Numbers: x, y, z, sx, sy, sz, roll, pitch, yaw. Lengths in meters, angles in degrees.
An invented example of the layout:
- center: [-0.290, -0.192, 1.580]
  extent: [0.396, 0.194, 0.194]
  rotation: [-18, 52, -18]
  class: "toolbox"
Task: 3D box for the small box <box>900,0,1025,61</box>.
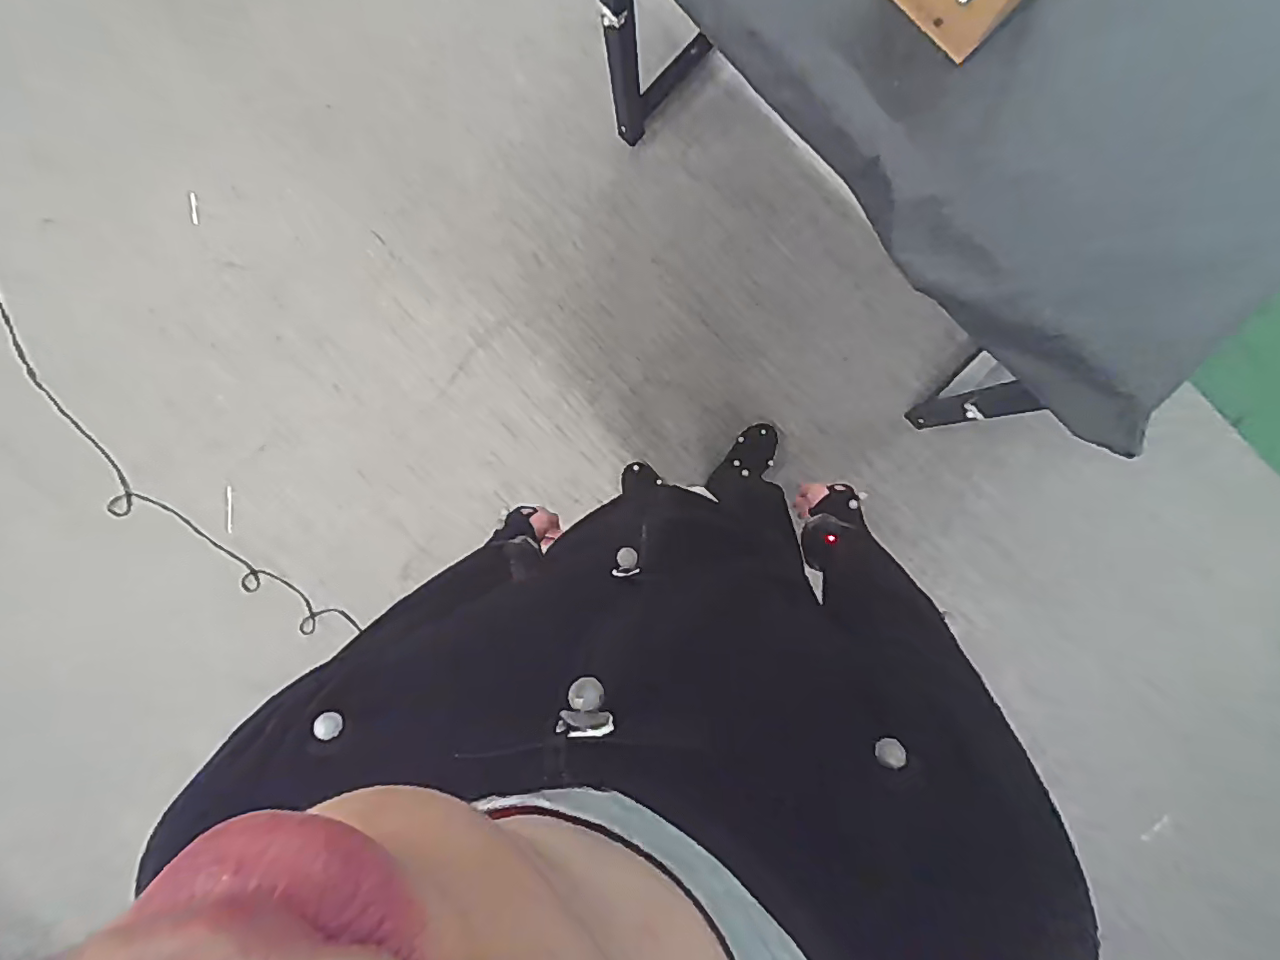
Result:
- center: [0.464, -0.713, 0.704]
  extent: [0.168, 0.176, 0.179]
  rotation: [45, 92, -1]
  class: "small box"
